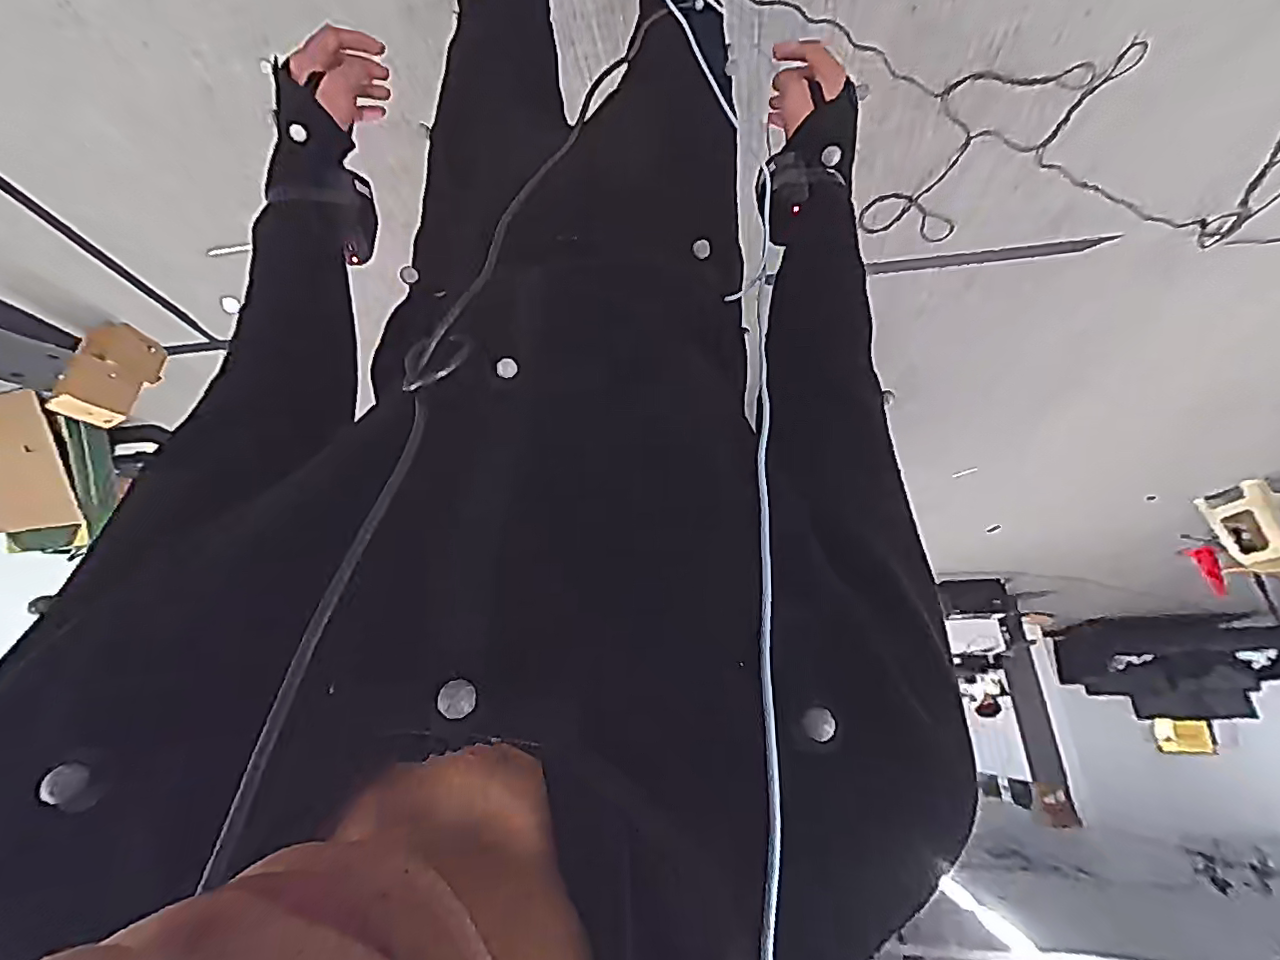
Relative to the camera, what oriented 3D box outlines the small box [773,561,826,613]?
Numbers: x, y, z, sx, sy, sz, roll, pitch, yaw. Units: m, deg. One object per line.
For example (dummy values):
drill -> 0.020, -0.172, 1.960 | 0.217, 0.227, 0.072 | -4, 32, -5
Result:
small box -> 0.623, 0.421, 2.134 | 0.168, 0.176, 0.179 | -2, 155, 7
